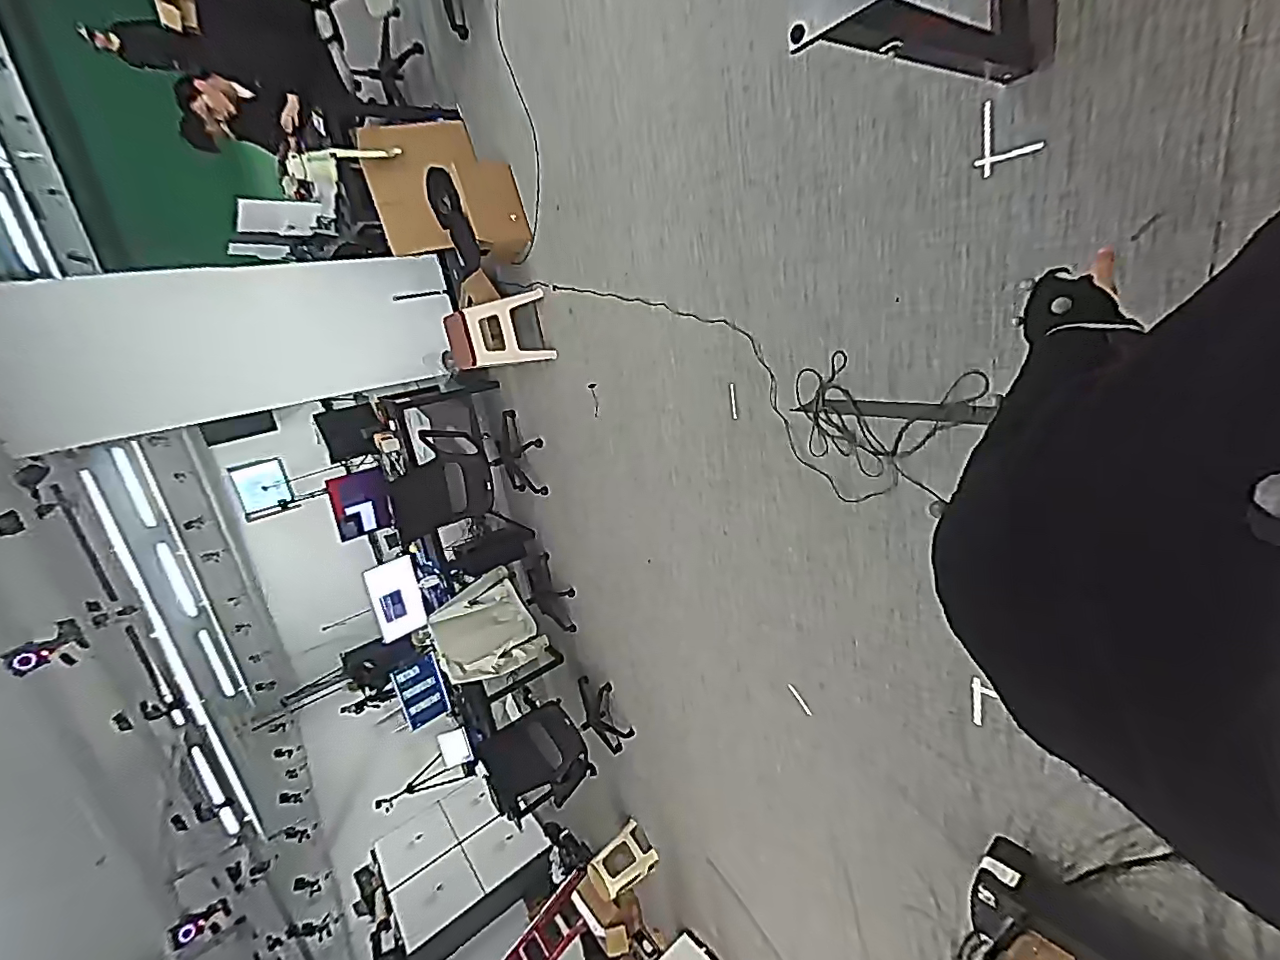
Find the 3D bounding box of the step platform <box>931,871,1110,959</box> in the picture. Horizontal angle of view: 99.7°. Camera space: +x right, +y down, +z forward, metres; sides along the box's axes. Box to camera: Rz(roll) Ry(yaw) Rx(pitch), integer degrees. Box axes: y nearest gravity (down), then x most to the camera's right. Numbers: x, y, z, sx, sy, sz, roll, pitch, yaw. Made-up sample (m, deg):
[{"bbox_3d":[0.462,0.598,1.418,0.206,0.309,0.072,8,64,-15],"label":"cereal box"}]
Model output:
[{"bbox_3d":[1.148,1.377,1.395,0.684,0.204,0.286,12,118,53],"label":"step platform"}]
